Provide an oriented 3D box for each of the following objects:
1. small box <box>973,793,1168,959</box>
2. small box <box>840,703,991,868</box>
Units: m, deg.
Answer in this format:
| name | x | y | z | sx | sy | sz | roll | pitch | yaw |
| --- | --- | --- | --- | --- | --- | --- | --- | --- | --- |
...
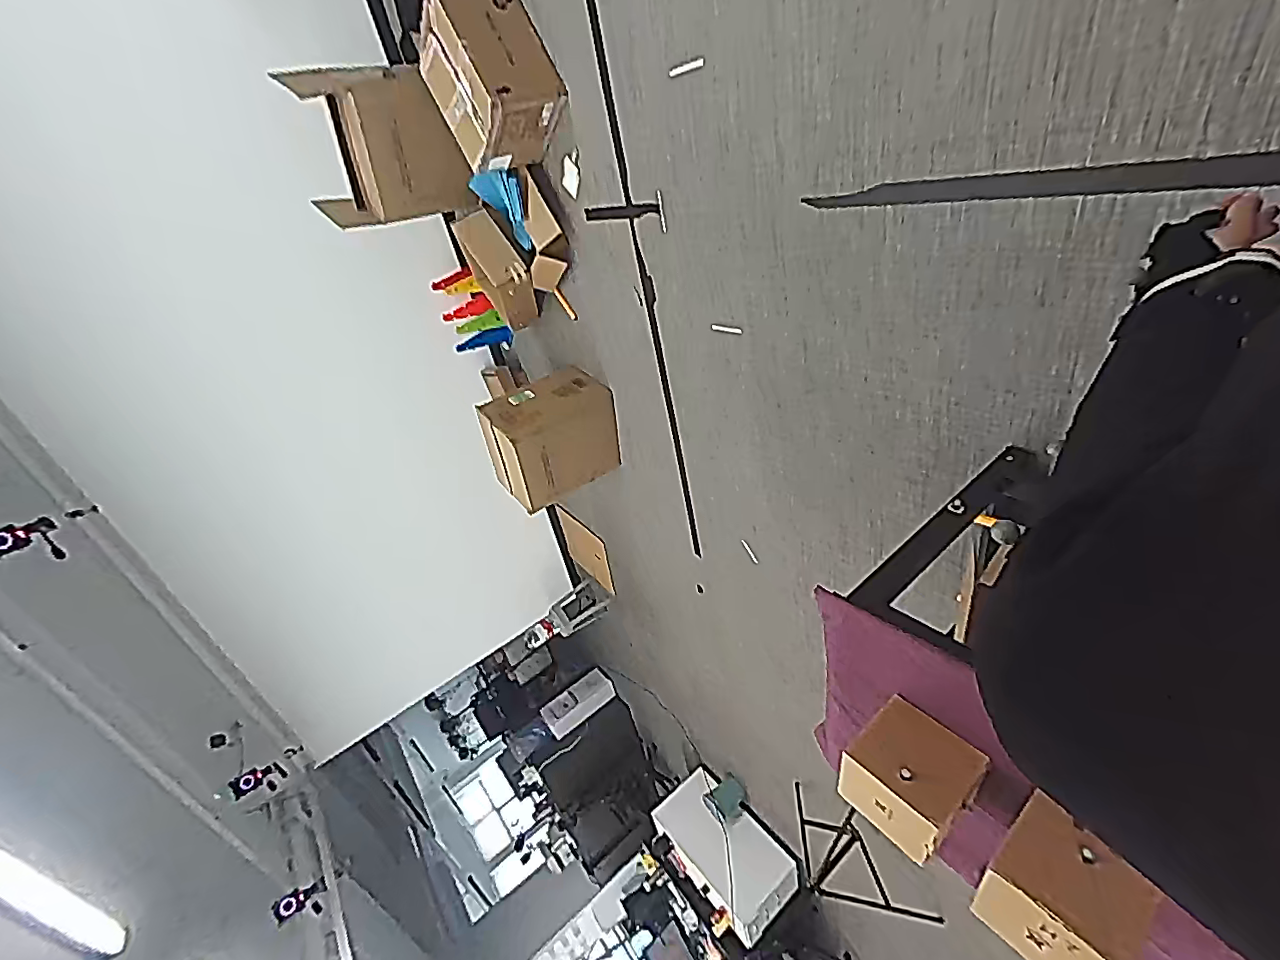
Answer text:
| name | x | y | z | sx | sy | sz | roll | pitch | yaw |
| --- | --- | --- | --- | --- | --- | --- | --- | --- | --- |
| small box | 0.638 | 0.623 | 0.810 | 0.168 | 0.176 | 0.179 | 29 | 141 | 45 |
| small box | 0.493 | 0.539 | 0.983 | 0.179 | 0.176 | 0.168 | 31 | 143 | 43 |
